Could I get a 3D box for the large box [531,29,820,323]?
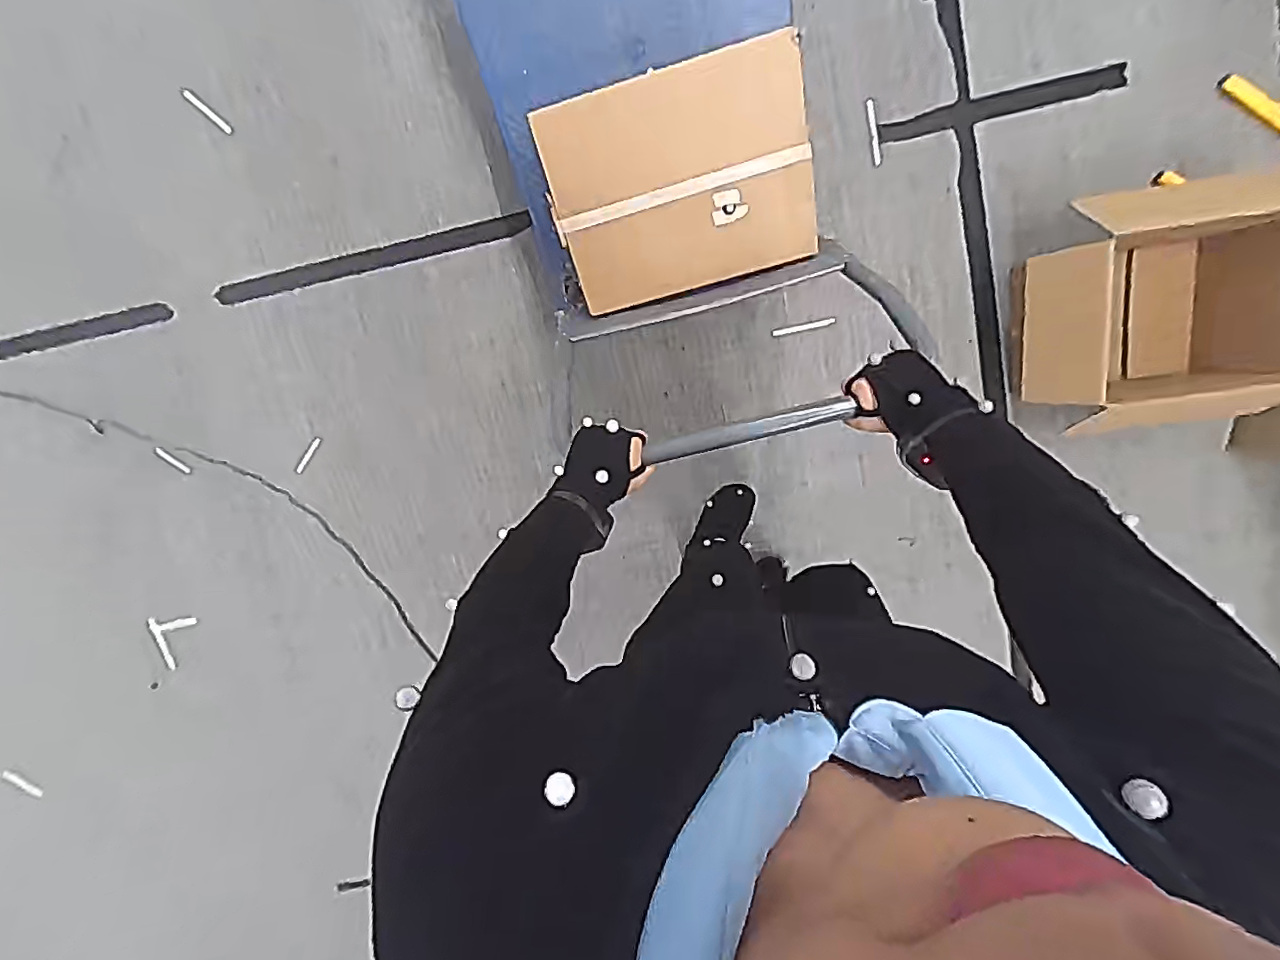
[{"bbox_3d":[0.063,-0.524,0.972,0.408,0.320,0.320,-15,122,6],"label":"large box"}]
